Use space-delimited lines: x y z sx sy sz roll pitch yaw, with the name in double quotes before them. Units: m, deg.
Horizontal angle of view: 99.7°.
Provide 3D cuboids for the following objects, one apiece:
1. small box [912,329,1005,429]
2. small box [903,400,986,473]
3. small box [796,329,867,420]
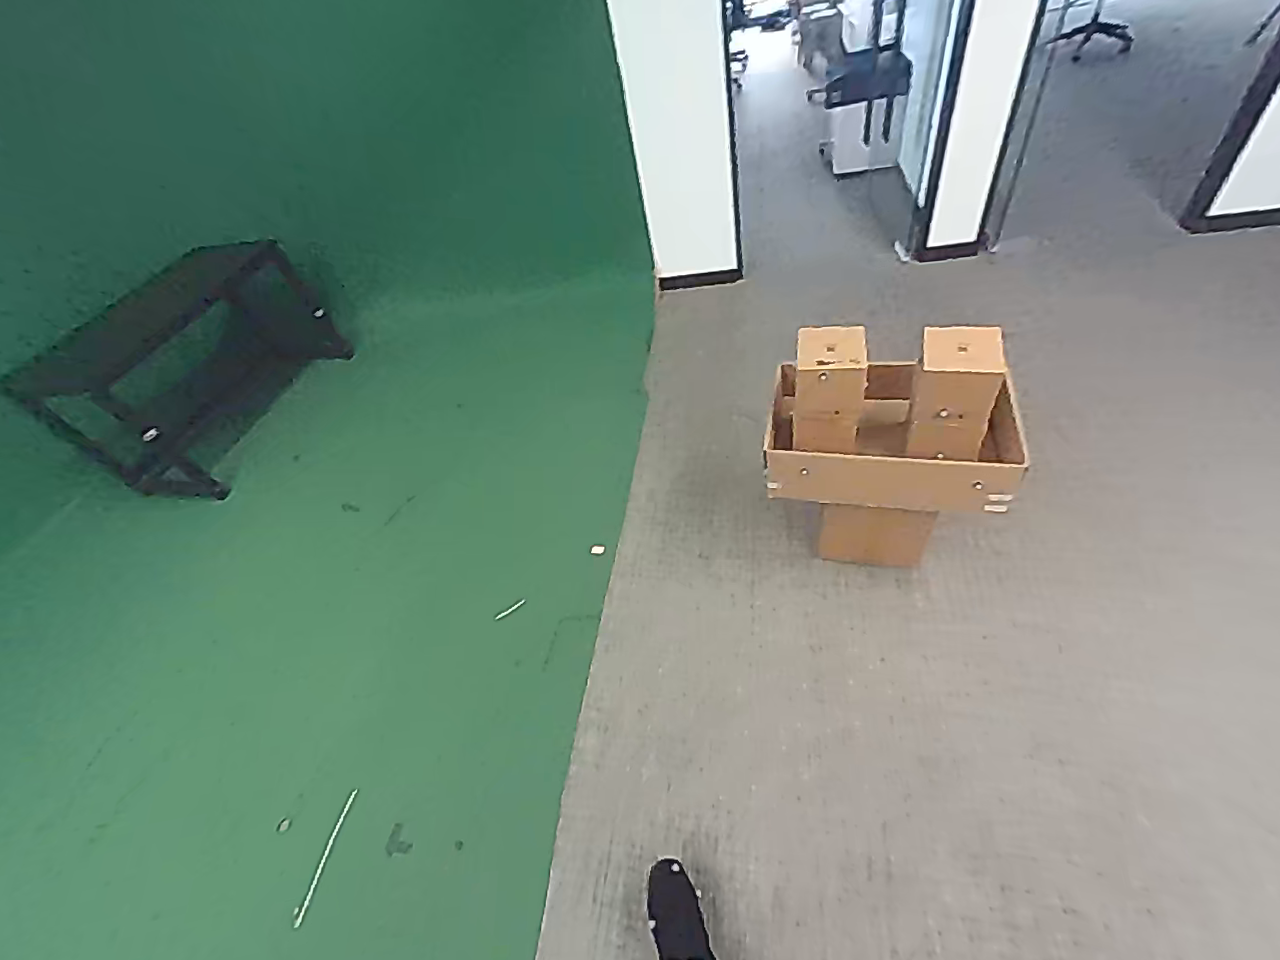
"small box" 0.776 -0.252 1.334 0.168 0.176 0.179 7 51 21
"small box" 0.811 -0.144 1.451 0.168 0.176 0.179 8 51 21
"small box" 0.501 -0.278 1.426 0.168 0.176 0.179 2 49 17
